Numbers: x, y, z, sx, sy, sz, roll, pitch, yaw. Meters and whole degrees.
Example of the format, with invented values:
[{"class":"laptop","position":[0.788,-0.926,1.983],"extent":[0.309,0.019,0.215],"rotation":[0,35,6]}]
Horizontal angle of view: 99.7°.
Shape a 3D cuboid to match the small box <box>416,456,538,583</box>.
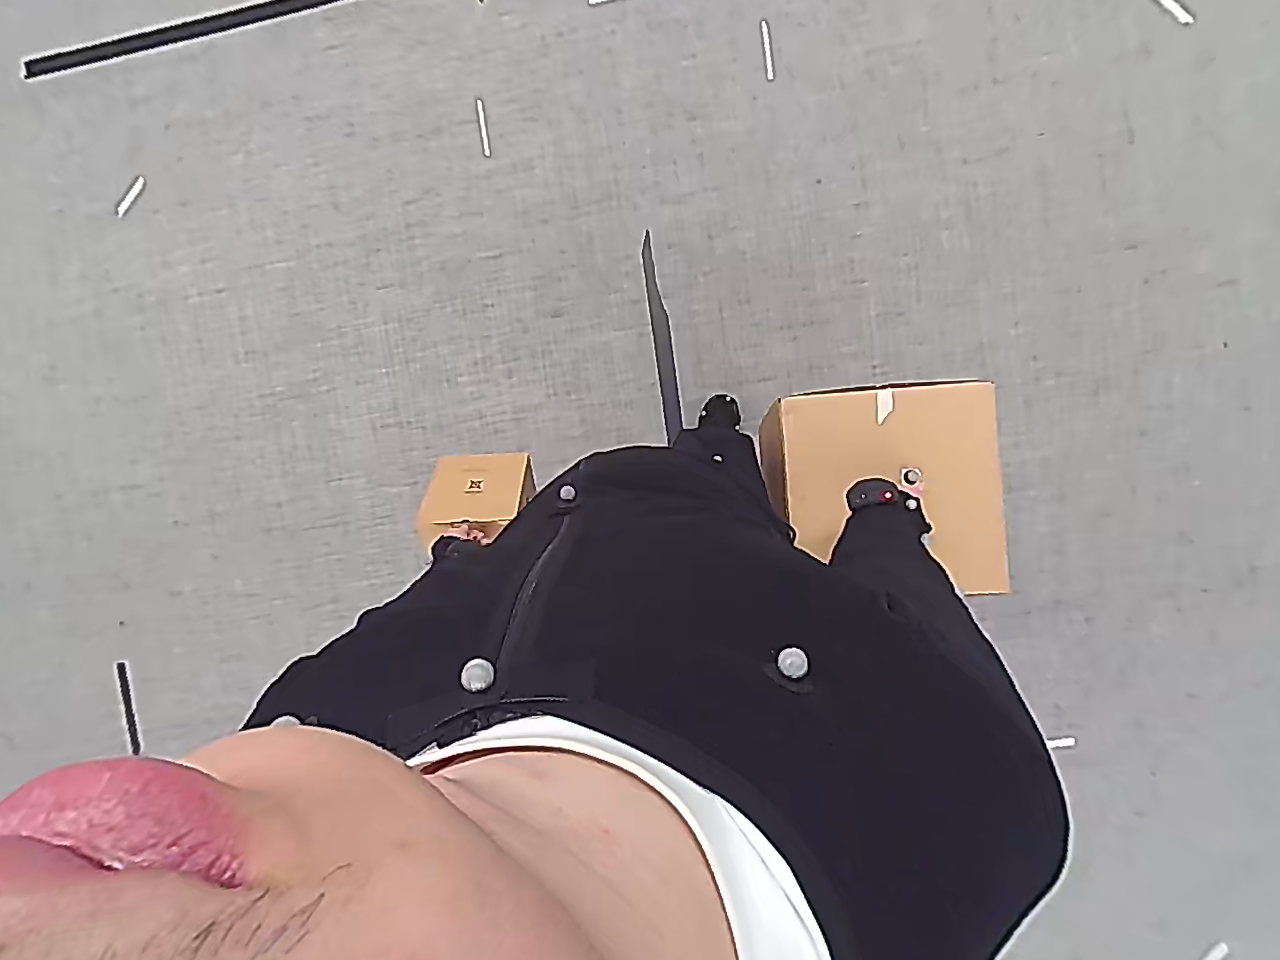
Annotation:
[{"class":"small box","position":[-0.284,0.076,0.990],"extent":[0.168,0.179,0.176],"rotation":[-2,131,-1]}]
